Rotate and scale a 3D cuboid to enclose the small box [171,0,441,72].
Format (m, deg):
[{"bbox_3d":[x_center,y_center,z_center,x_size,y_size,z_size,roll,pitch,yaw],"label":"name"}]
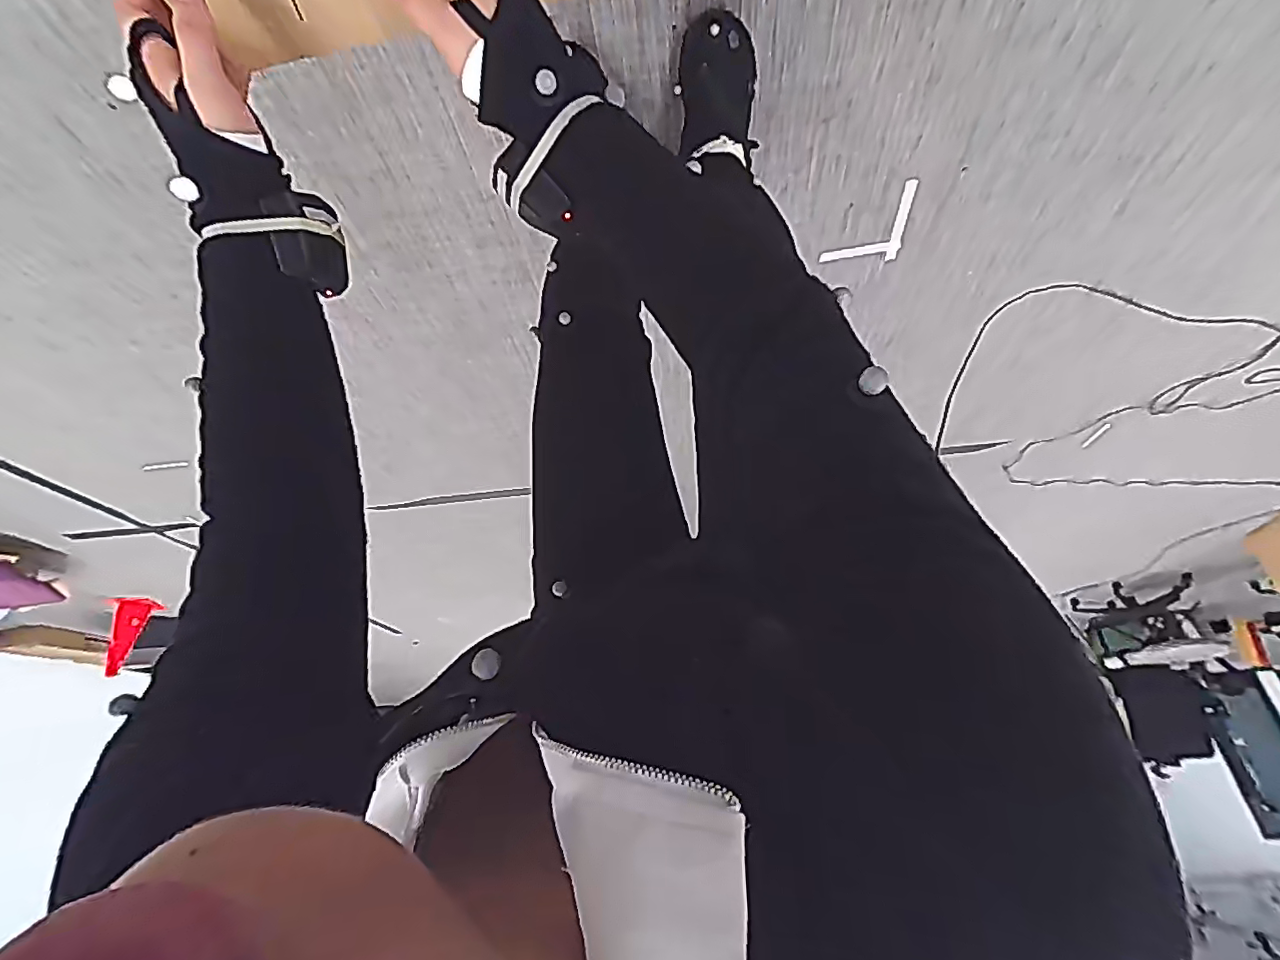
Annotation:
[{"bbox_3d":[-0.242,-0.420,0.354,0.168,0.176,0.179,-7,151,6],"label":"small box"}]
